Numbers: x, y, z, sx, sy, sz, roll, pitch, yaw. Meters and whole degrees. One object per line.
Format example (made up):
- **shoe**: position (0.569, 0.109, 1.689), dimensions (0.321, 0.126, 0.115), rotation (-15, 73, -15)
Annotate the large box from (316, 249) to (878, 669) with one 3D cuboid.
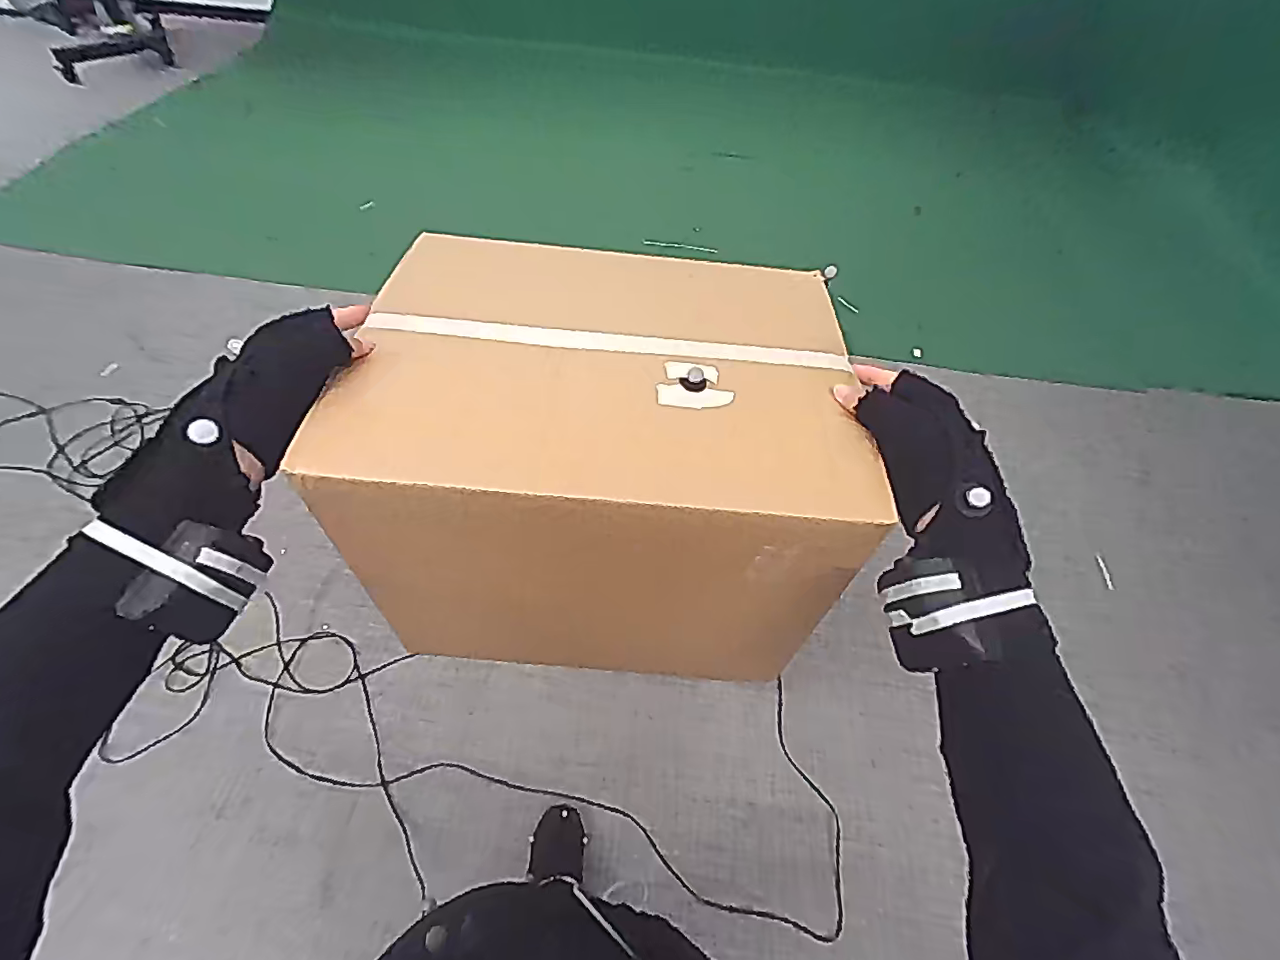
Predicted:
- **large box**: position (-0.034, -0.012, 0.583), dimensions (0.408, 0.320, 0.320), rotation (6, 51, -2)
